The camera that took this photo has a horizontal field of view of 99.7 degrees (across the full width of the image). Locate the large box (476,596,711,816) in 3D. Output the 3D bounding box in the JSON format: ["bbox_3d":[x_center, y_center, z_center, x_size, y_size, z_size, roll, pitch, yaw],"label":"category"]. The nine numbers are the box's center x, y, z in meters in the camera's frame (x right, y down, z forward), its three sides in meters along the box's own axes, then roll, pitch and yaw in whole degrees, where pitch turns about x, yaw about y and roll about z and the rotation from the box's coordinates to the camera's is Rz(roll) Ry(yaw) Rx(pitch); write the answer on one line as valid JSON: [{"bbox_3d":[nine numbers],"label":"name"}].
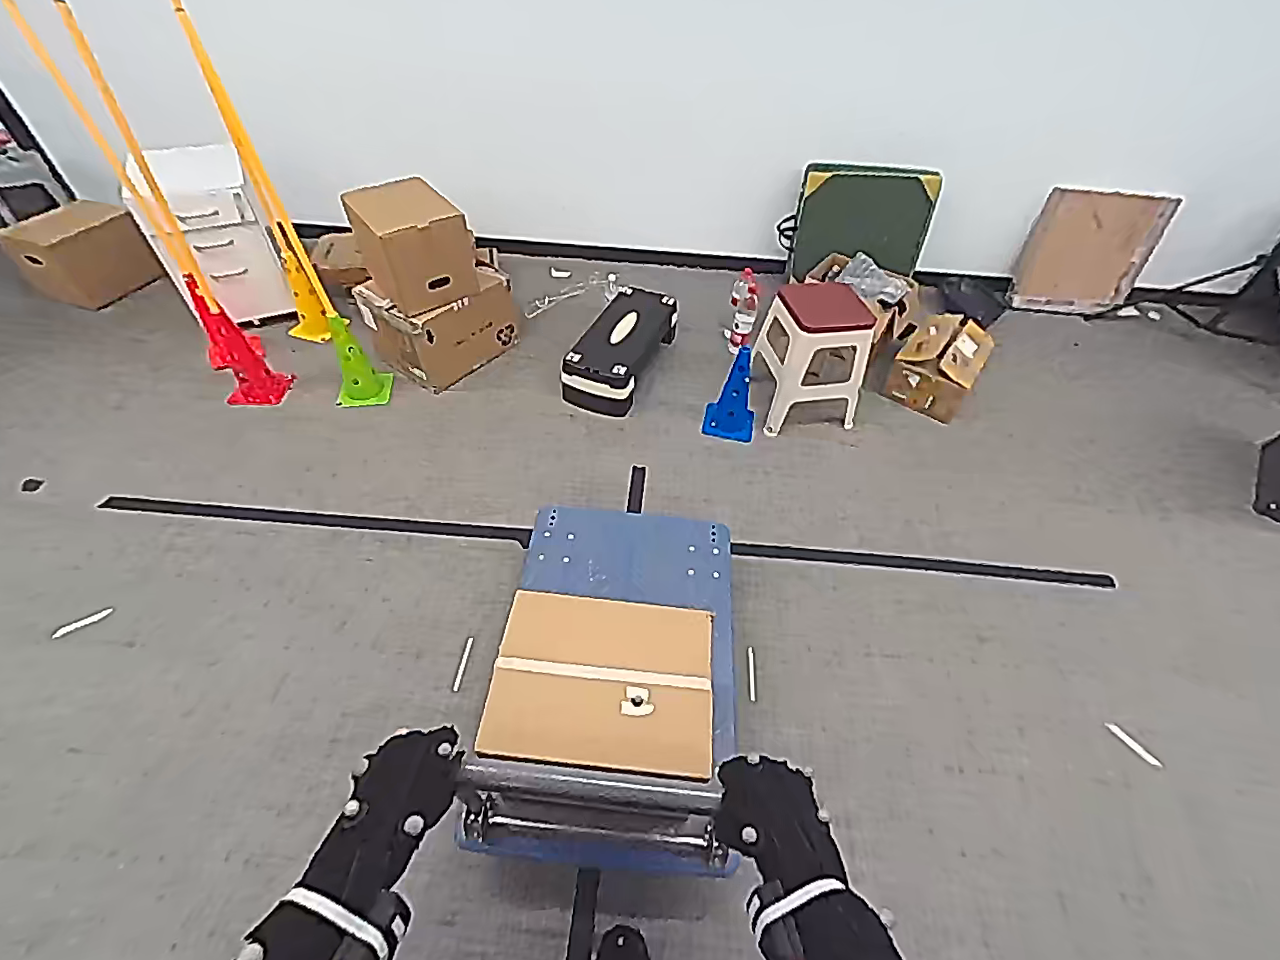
[{"bbox_3d":[-0.081,0.467,1.110,0.408,0.320,0.320,7,48,0],"label":"large box"}]
